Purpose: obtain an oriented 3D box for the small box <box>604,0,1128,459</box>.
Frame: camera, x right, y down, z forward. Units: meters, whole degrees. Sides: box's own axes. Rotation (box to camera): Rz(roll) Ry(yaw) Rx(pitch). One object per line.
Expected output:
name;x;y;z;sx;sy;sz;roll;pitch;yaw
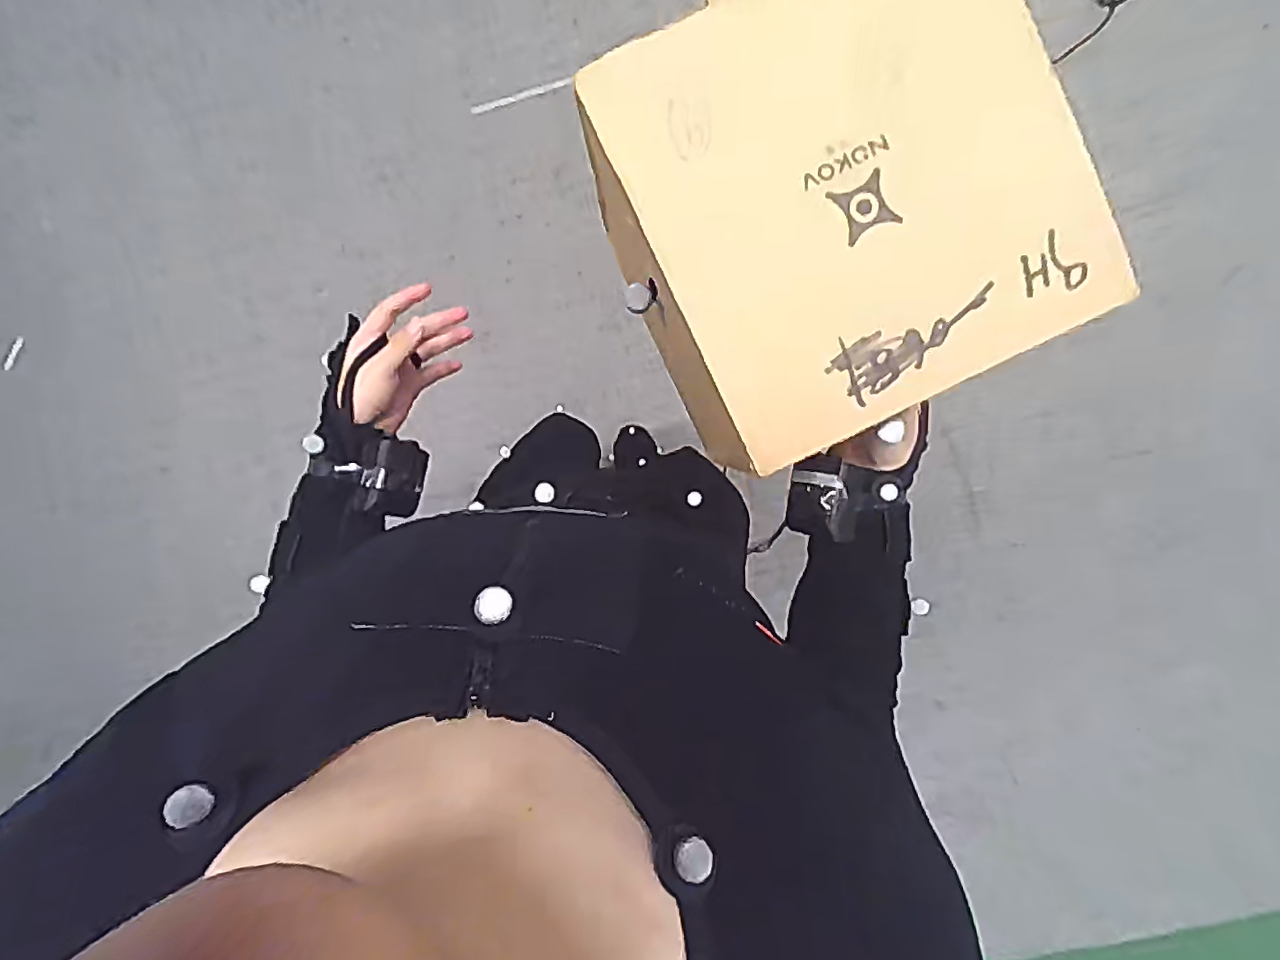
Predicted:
small box;0.093;-0.122;0.302;0.168;0.176;0.179;-26;93;3
